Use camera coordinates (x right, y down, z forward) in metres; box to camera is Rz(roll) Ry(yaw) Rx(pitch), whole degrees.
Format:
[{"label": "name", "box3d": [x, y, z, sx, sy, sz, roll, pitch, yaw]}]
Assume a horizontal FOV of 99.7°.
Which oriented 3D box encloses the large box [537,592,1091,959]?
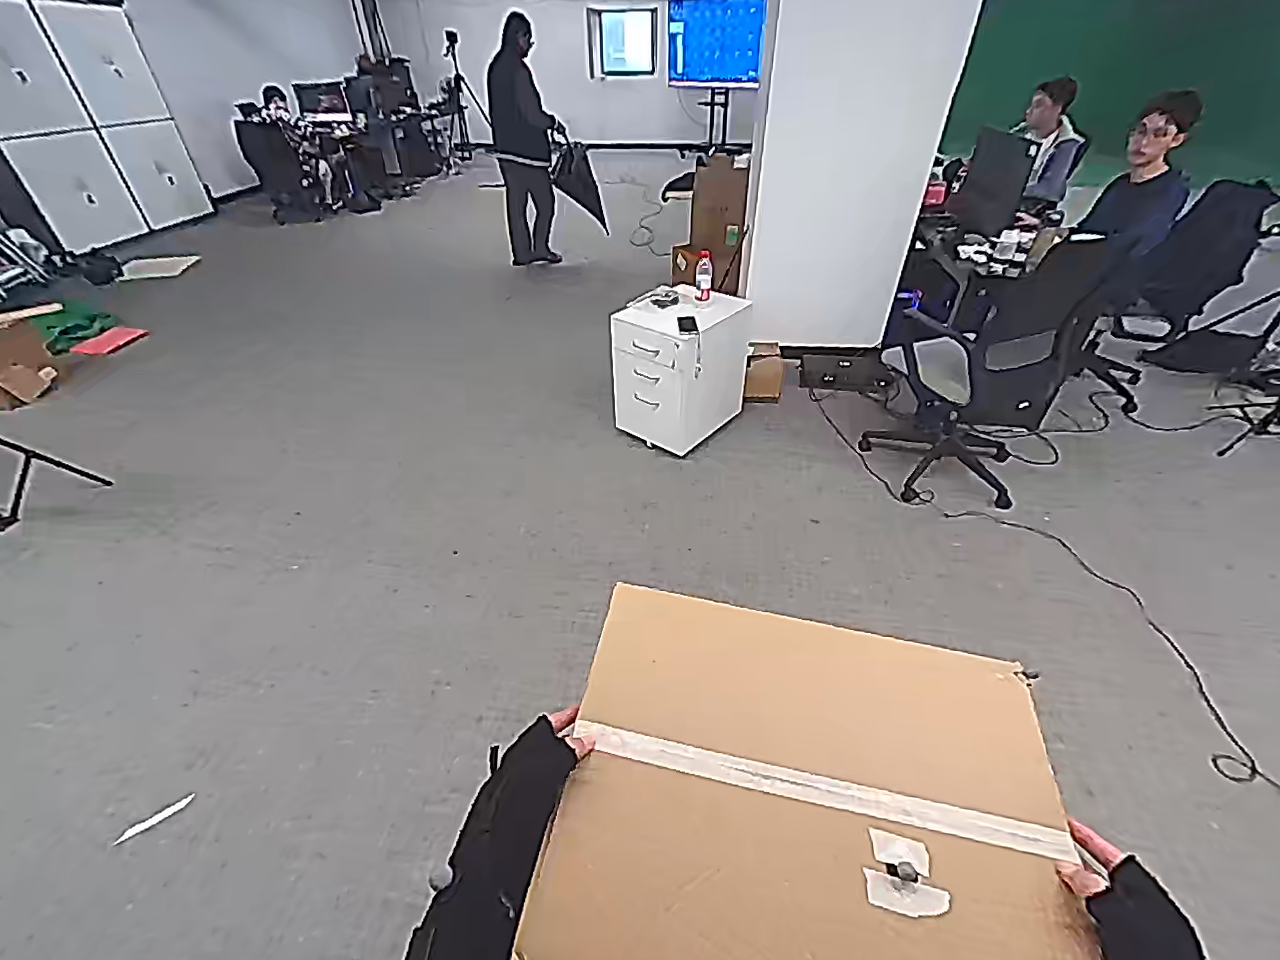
[{"label": "large box", "box3d": [0.140, 0.362, 0.571, 0.408, 0.320, 0.320, 10, 48, 7]}]
